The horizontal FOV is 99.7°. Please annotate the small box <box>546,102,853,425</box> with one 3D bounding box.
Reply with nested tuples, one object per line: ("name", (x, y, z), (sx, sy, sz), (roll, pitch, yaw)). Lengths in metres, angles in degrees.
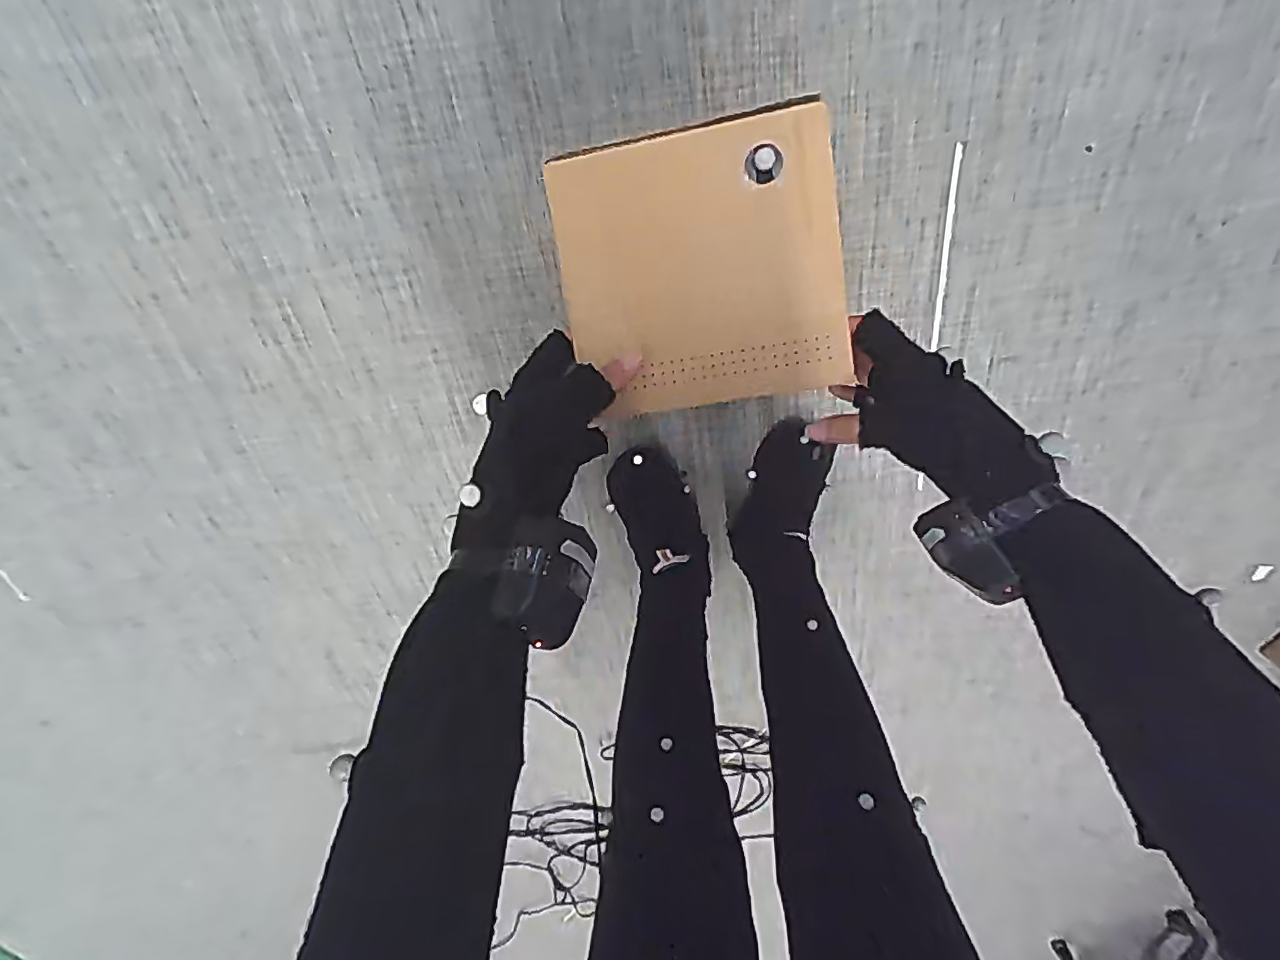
("small box", (0.048, -0.137, 0.413), (0.179, 0.168, 0.176), (-7, 97, 10))
